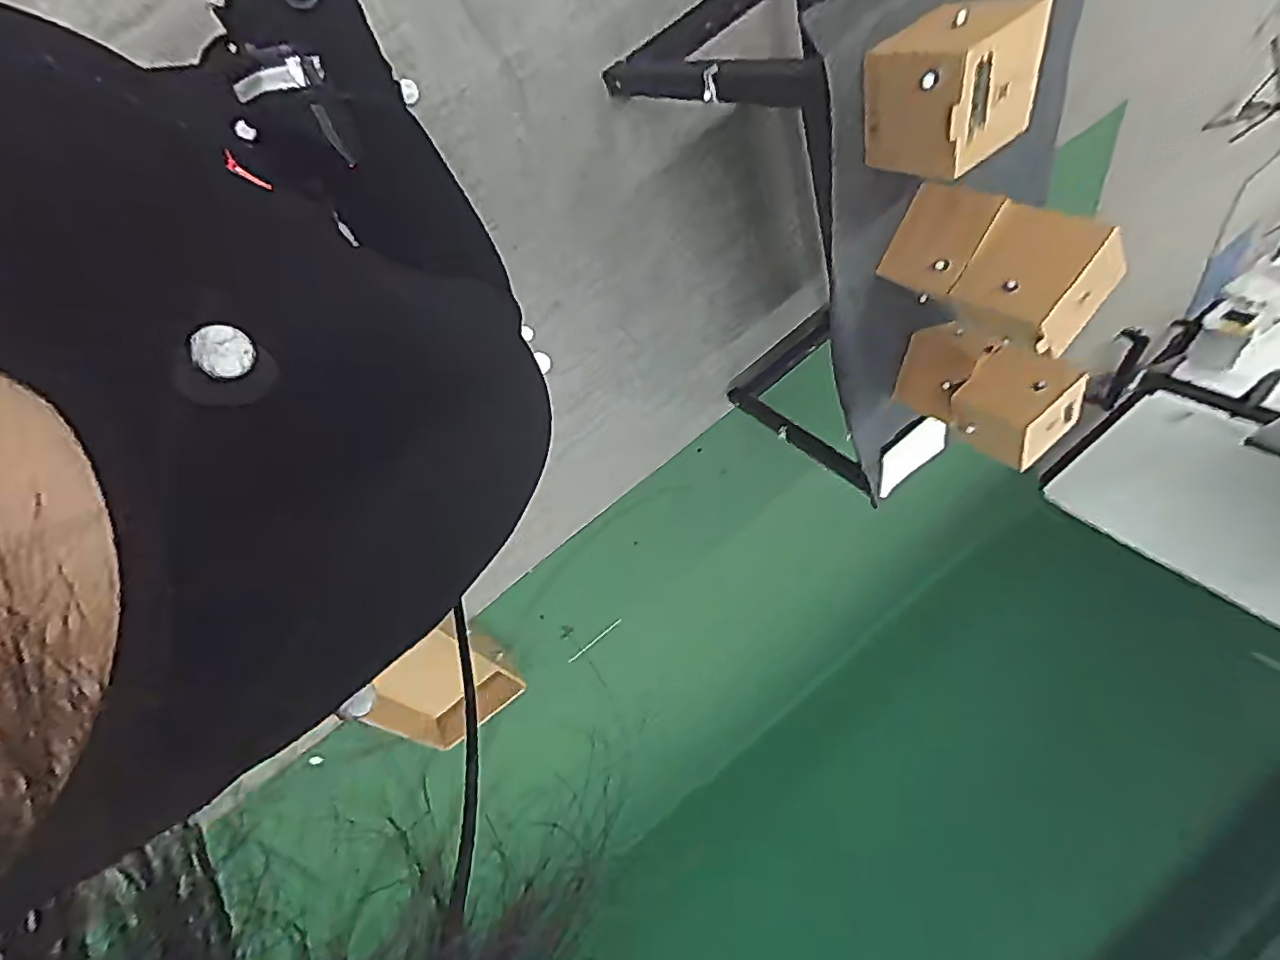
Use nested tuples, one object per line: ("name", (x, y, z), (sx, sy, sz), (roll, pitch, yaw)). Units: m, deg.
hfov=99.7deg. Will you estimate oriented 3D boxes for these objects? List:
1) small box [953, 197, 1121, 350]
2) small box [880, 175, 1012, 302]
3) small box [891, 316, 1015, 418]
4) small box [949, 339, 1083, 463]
("small box", (0.682, -0.361, 0.946), (0.168, 0.176, 0.179), (15, 111, -44))
("small box", (0.597, -0.461, 1.044), (0.168, 0.176, 0.179), (1, 121, -39))
("small box", (0.739, -0.275, 1.296), (0.168, 0.176, 0.179), (-18, 130, -26))
("small box", (0.812, -0.178, 1.185), (0.179, 0.176, 0.168), (-43, 136, -2))
